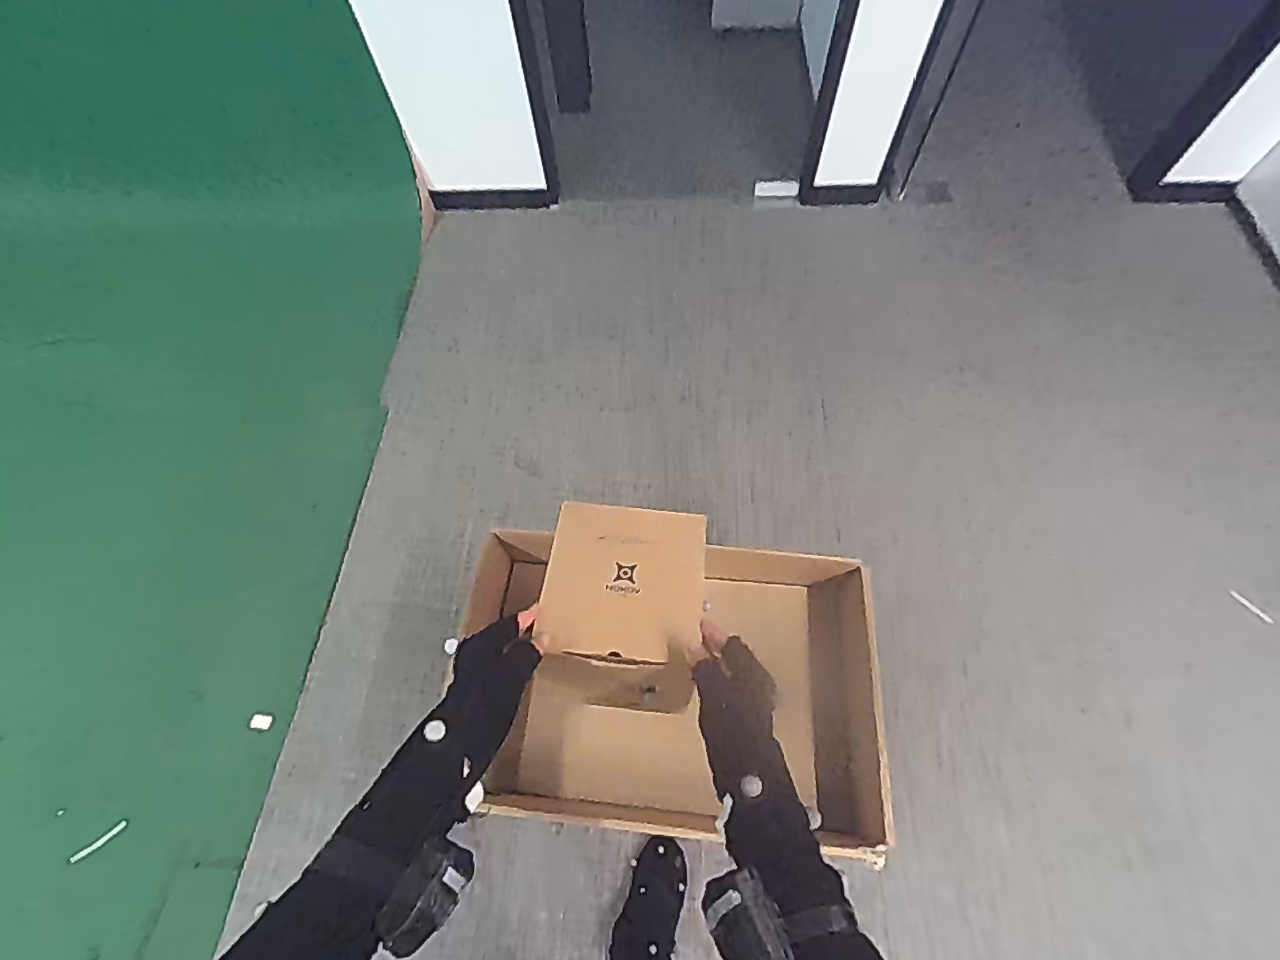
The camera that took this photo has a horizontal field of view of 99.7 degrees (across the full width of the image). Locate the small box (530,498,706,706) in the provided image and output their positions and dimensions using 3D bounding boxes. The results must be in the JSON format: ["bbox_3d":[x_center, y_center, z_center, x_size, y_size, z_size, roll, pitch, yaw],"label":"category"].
[{"bbox_3d":[-0.018,0.145,0.622,0.168,0.176,0.179,6,52,1],"label":"small box"}]
